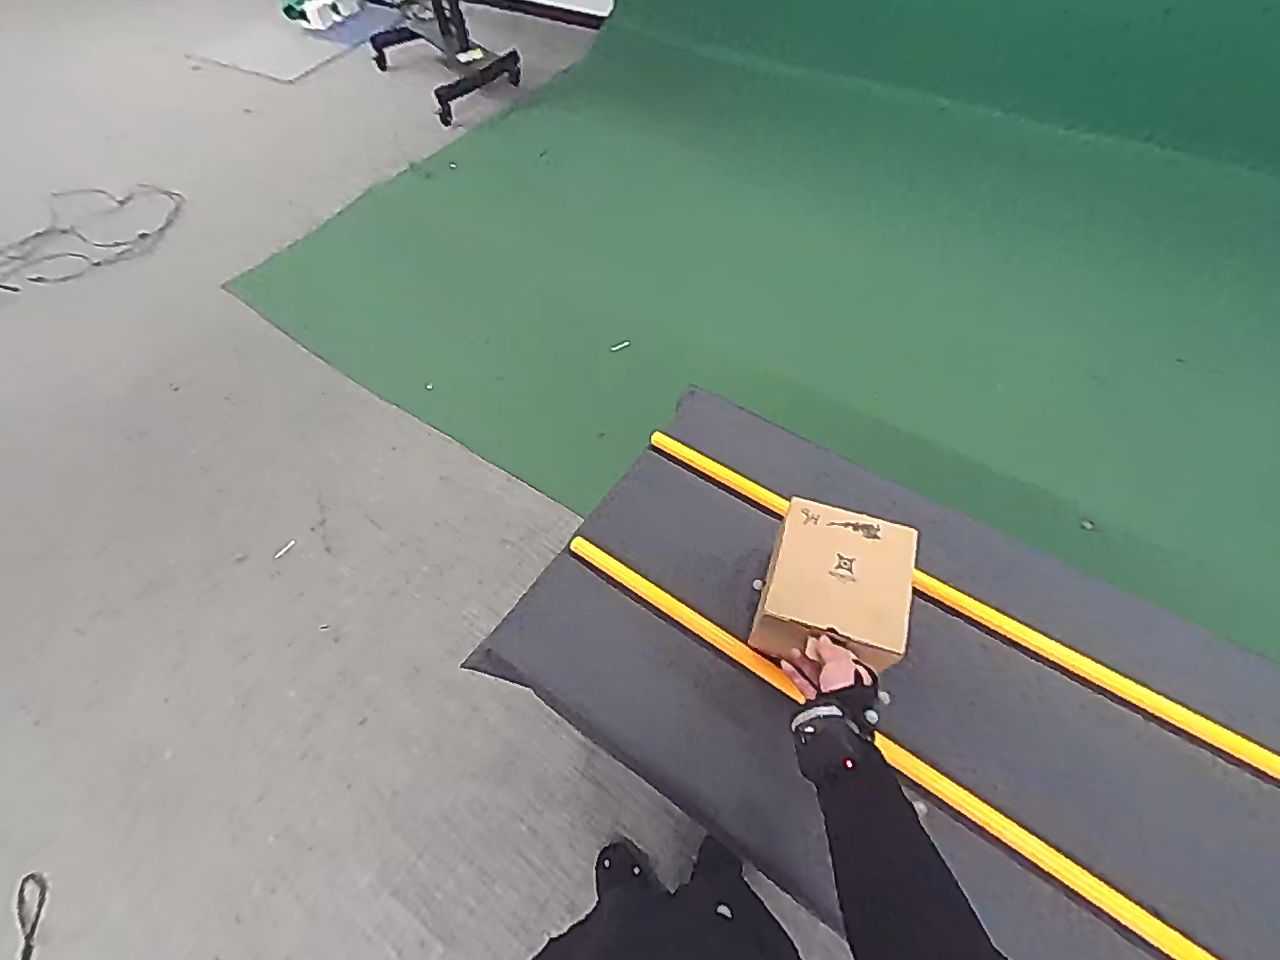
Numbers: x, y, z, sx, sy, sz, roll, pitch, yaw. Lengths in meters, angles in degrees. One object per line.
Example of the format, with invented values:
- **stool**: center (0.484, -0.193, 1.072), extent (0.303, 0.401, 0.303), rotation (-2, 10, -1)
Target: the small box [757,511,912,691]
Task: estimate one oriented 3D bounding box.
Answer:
- **small box**: center (0.262, 0.173, 0.753), extent (0.168, 0.176, 0.179), rotation (12, 58, 14)
